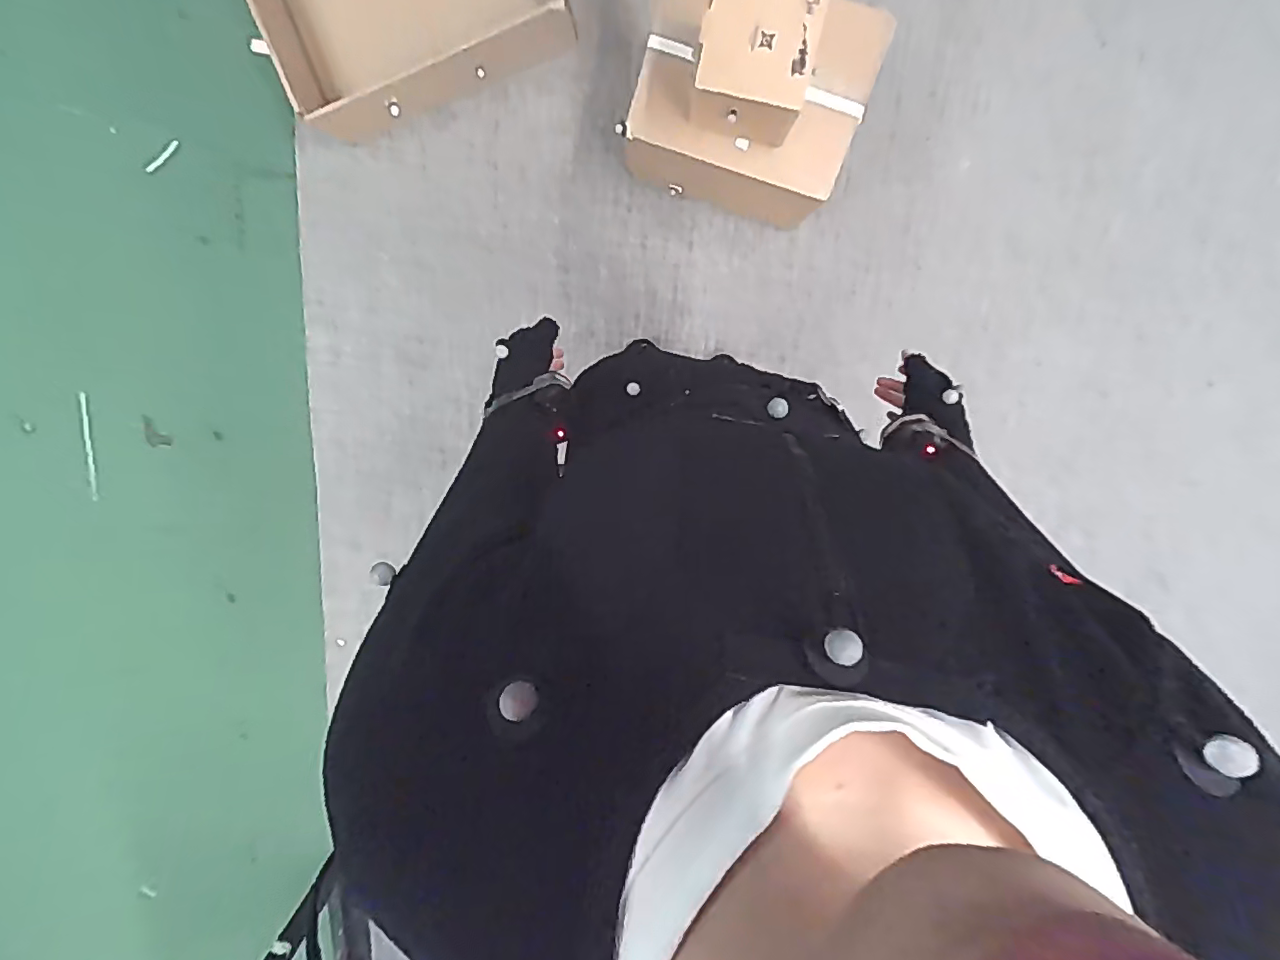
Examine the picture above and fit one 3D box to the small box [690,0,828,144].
[{"bbox_3d":[0.185,-0.684,0.891,0.179,0.176,0.168,13,105,1],"label":"small box"}]
